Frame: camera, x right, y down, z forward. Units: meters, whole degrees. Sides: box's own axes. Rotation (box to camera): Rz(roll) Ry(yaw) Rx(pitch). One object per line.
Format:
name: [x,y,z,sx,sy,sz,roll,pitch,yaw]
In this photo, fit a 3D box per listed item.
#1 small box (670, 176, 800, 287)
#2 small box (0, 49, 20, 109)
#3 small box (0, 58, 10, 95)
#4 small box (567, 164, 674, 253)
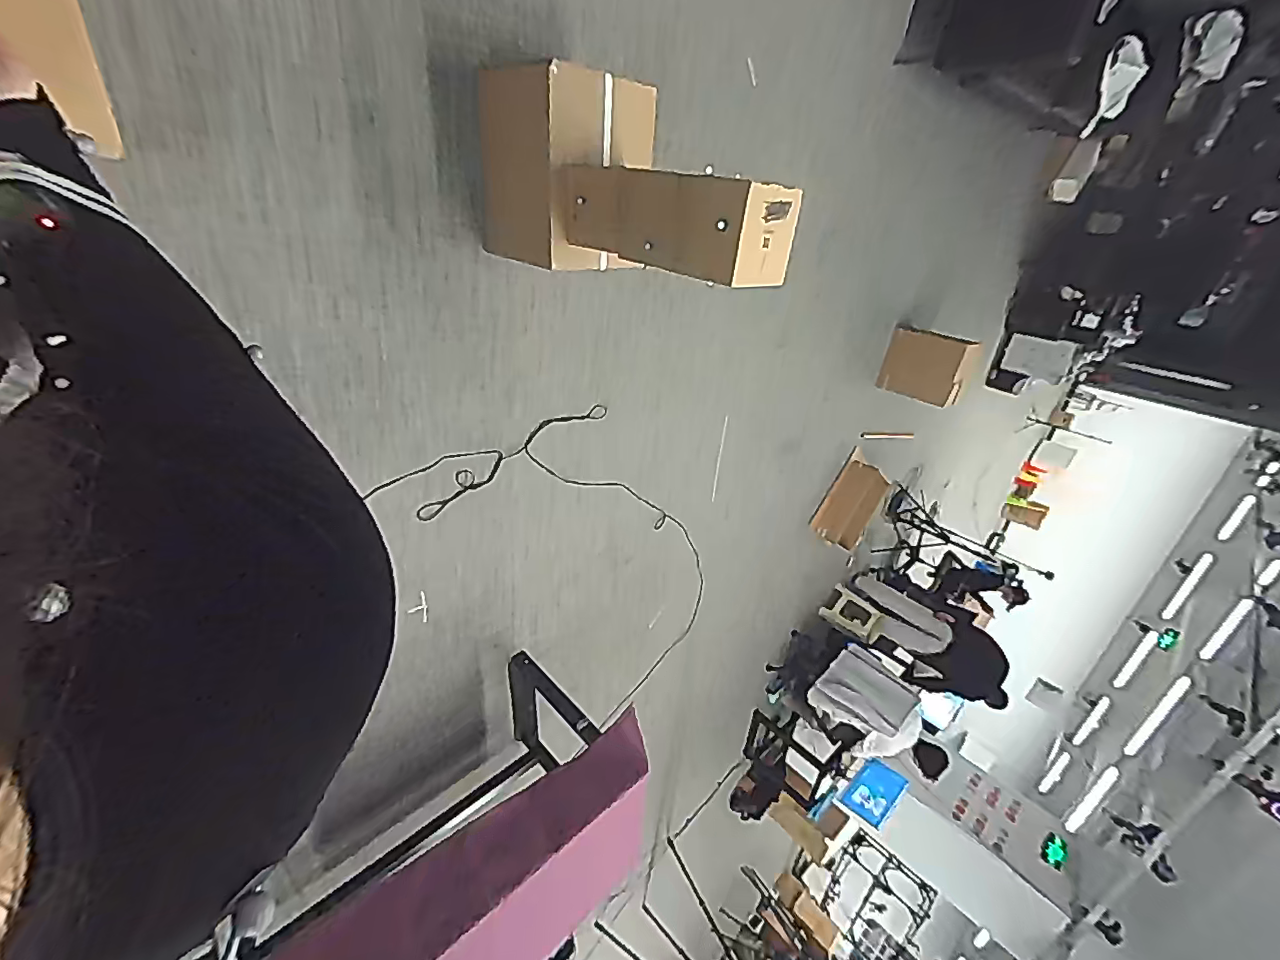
small box: [0.178,-0.484,1.054,0.168,0.176,0.179,-18,128,-39]
small box: [-0.773,-0.476,0.534,0.179,0.176,0.168,-21,127,-36]
small box: [-0.663,-0.416,0.428,0.168,0.176,0.179,-26,129,-35]
small box: [-0.048,-0.627,1.246,0.179,0.176,0.168,-22,129,-37]
